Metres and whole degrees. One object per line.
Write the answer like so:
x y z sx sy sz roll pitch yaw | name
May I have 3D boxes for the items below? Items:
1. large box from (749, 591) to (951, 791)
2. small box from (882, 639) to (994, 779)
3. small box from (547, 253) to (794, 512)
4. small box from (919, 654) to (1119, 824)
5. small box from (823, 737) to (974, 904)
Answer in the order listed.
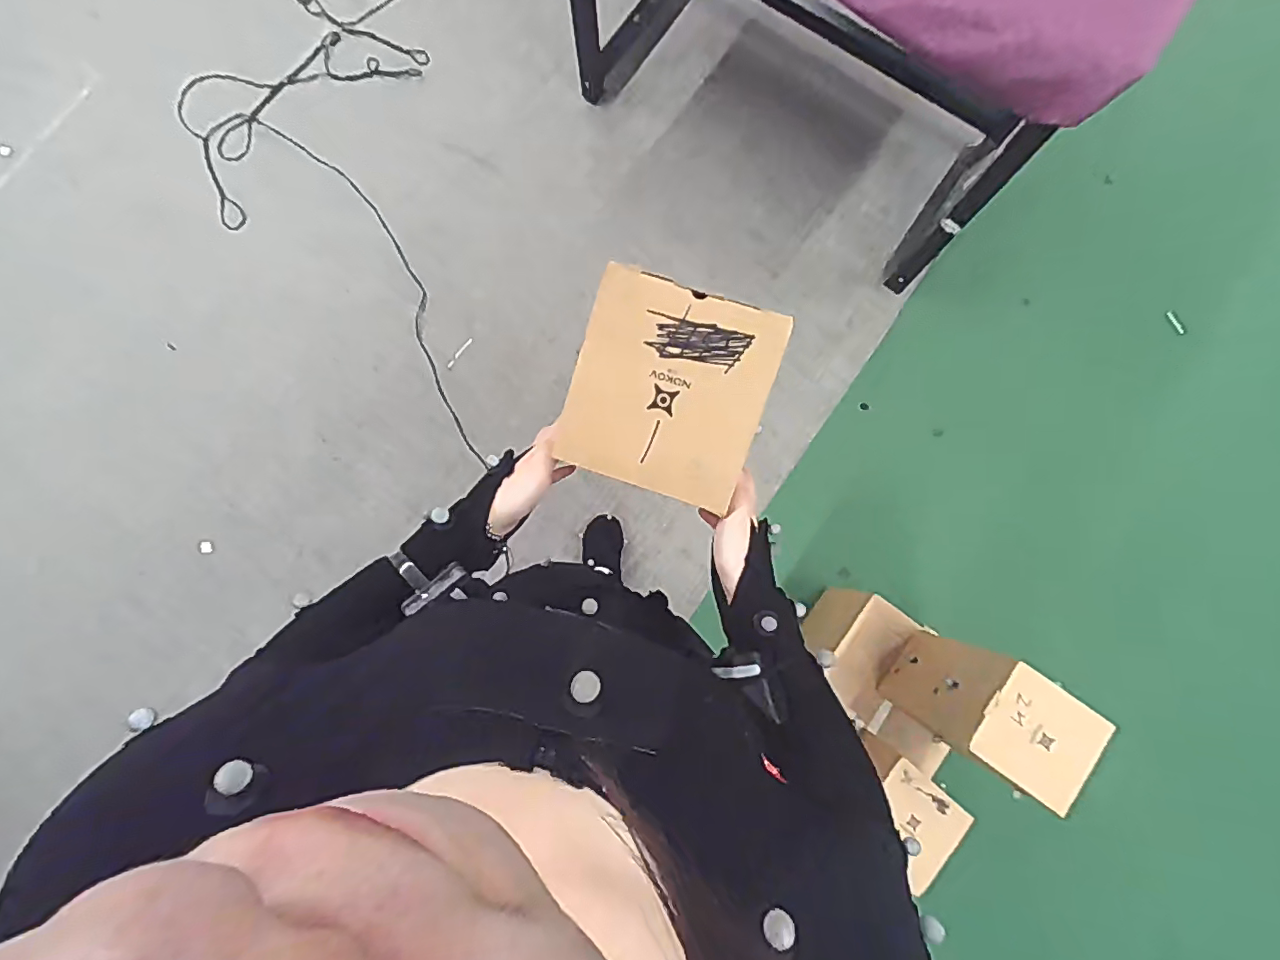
0.521 0.525 1.301 0.320 0.320 0.408 36 84 6 | large box
0.623 0.437 1.068 0.179 0.176 0.168 37 84 5 | small box
0.029 -0.090 0.527 0.168 0.176 0.179 19 100 3 | small box
0.618 0.414 0.905 0.179 0.176 0.168 36 84 5 | small box
0.478 0.636 1.037 0.168 0.176 0.179 42 84 5 | small box
